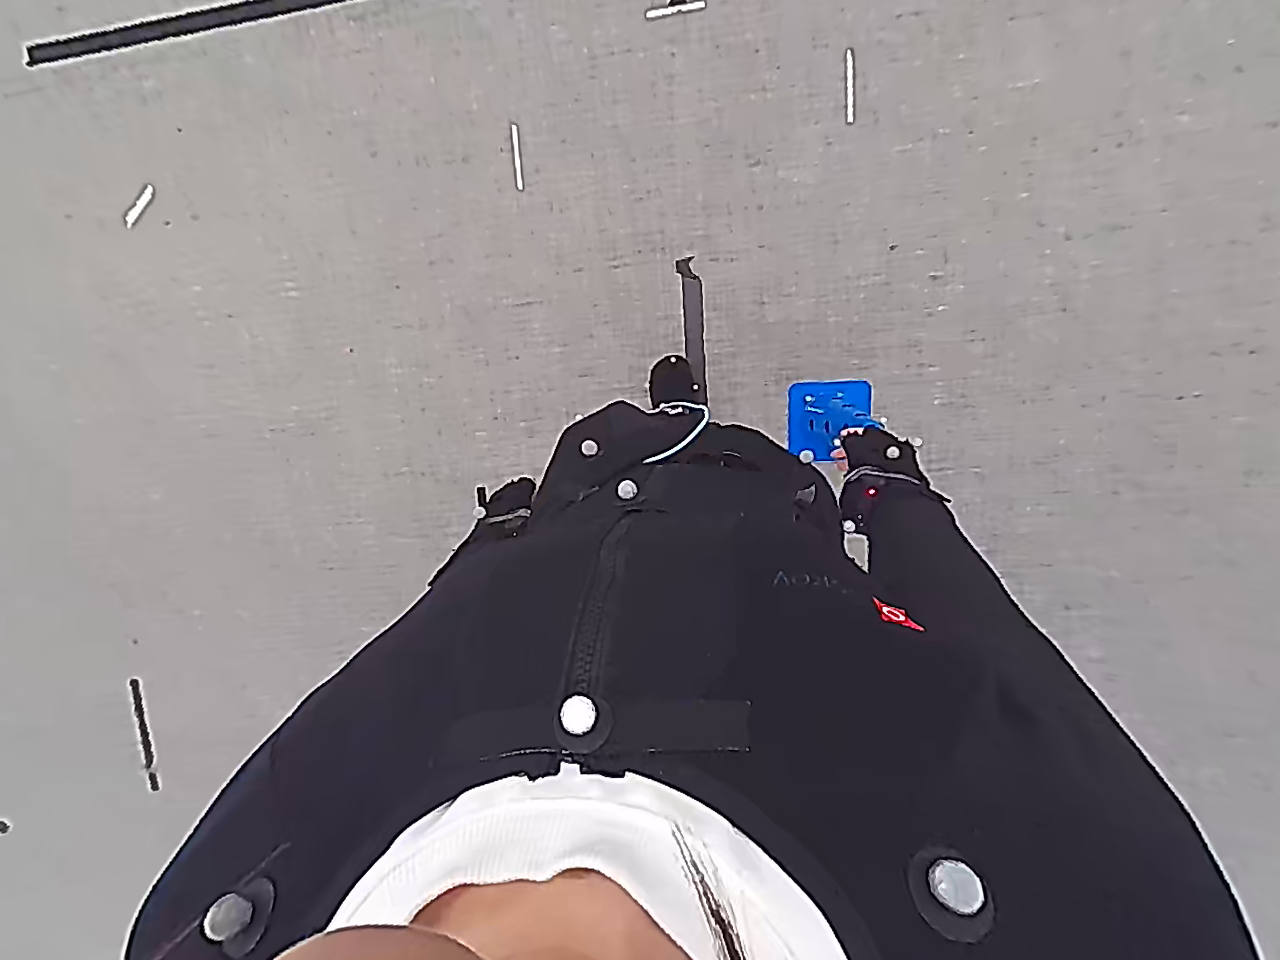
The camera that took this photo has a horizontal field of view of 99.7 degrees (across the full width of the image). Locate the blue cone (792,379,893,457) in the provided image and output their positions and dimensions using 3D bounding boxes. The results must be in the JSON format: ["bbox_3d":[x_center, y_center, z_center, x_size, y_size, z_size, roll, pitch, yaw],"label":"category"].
[{"bbox_3d":[0.461,-0.128,1.187,0.192,0.380,0.193,1,99,6],"label":"blue cone"}]
